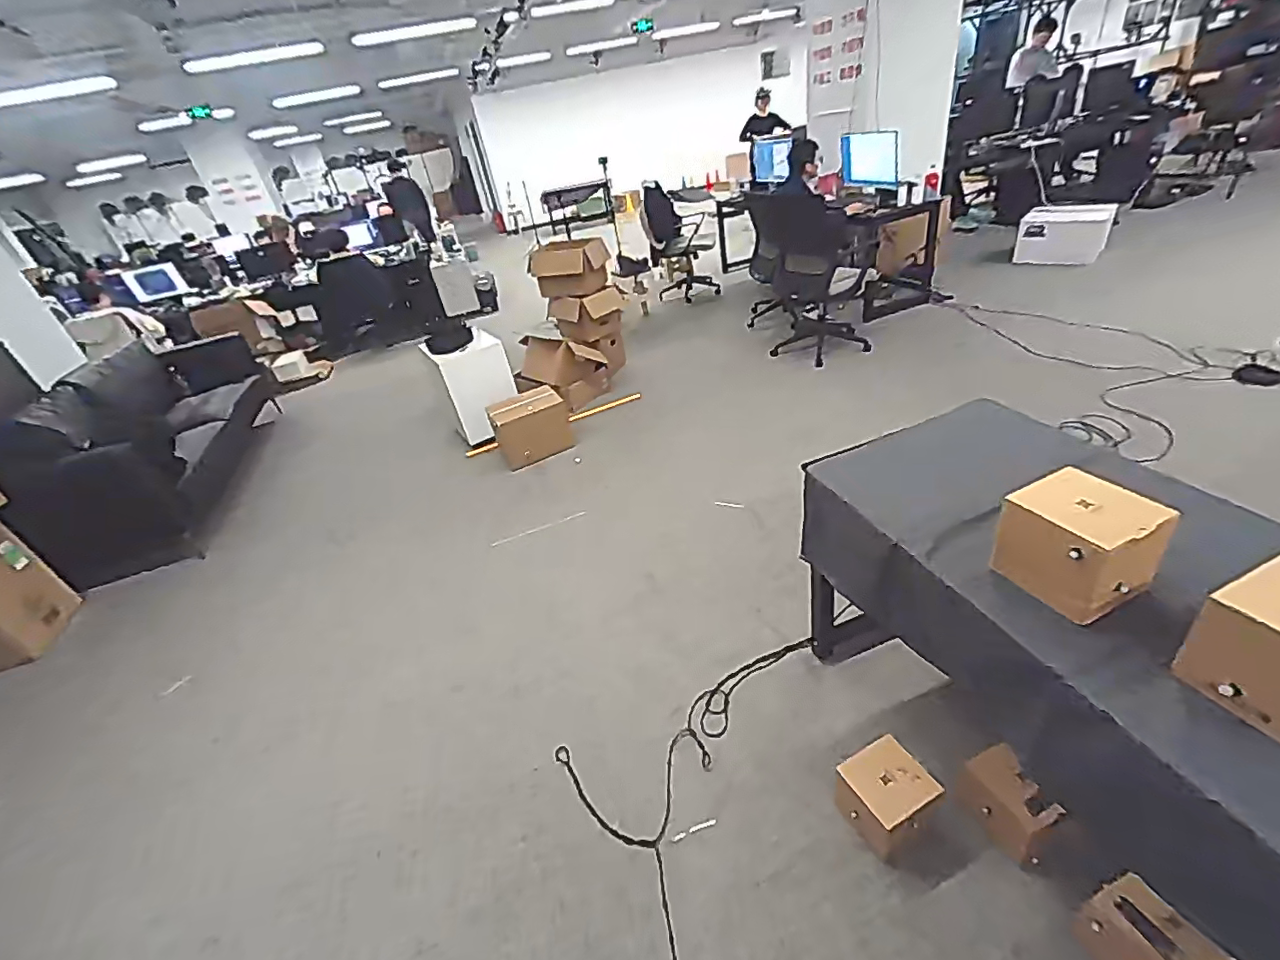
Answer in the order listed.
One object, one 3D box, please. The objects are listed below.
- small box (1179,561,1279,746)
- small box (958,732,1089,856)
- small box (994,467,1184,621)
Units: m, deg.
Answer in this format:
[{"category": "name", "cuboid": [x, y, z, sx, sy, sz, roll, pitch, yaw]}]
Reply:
[{"category": "small box", "cuboid": [0.884, 0.230, 0.715, 0.179, 0.176, 0.168, -20, 33, -12]}, {"category": "small box", "cuboid": [0.889, 0.742, 1.270, 0.168, 0.176, 0.179, -19, 33, -12]}, {"category": "small box", "cuboid": [0.758, 0.108, 0.937, 0.168, 0.176, 0.179, -21, 35, -14]}]
